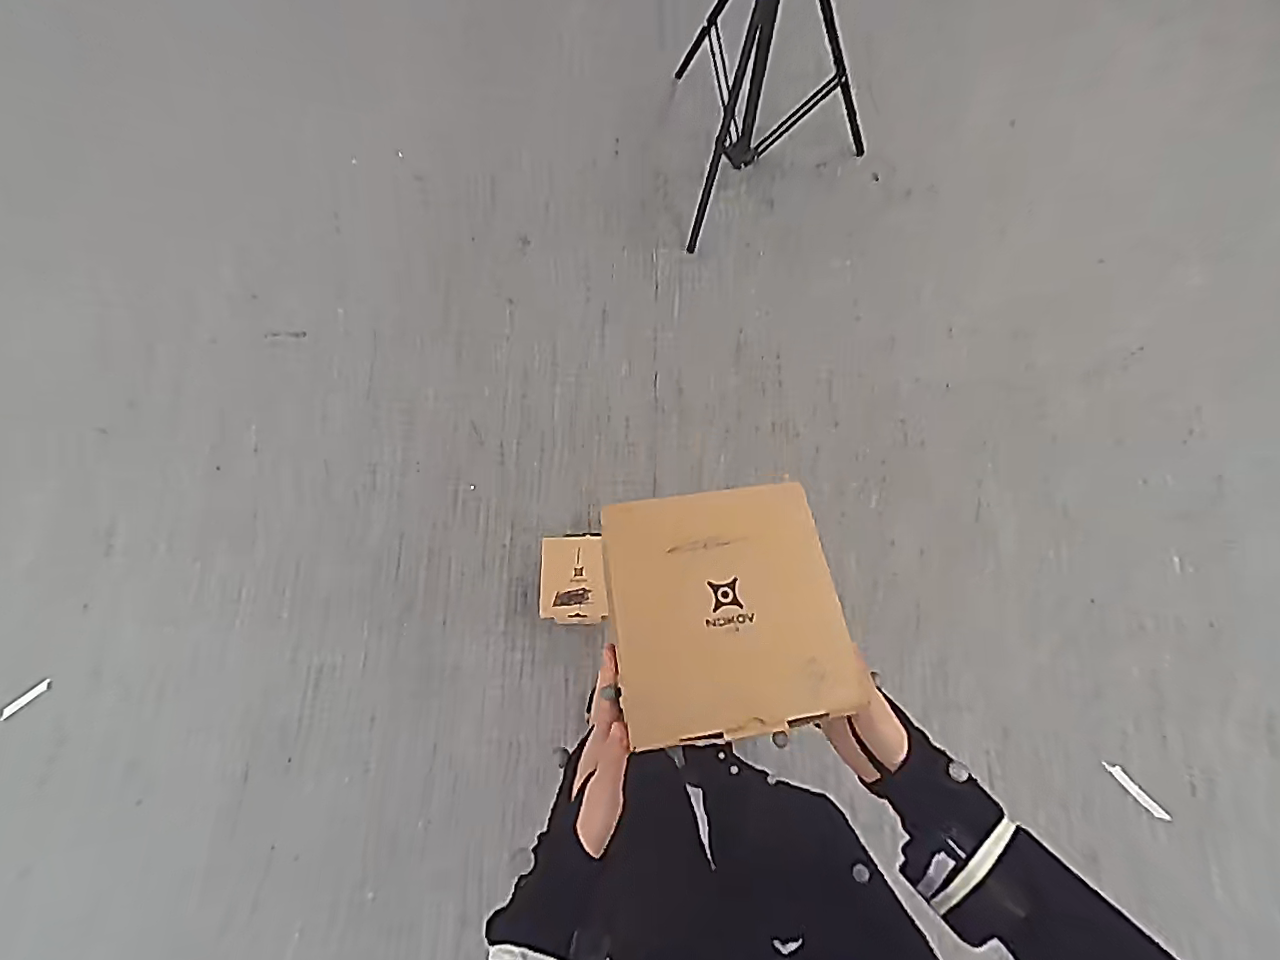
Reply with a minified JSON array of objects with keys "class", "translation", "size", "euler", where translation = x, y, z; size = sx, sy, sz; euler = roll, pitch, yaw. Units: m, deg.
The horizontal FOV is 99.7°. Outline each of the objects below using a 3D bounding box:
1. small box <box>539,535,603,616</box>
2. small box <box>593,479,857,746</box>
[{"class":"small box","translation":[-0.135,0.223,1.260],"size":[0.168,0.176,0.179],"euler":[-1,77,2]},{"class":"small box","translation":[0.053,0.121,0.467],"size":[0.168,0.176,0.179],"euler":[-7,64,-8]}]
